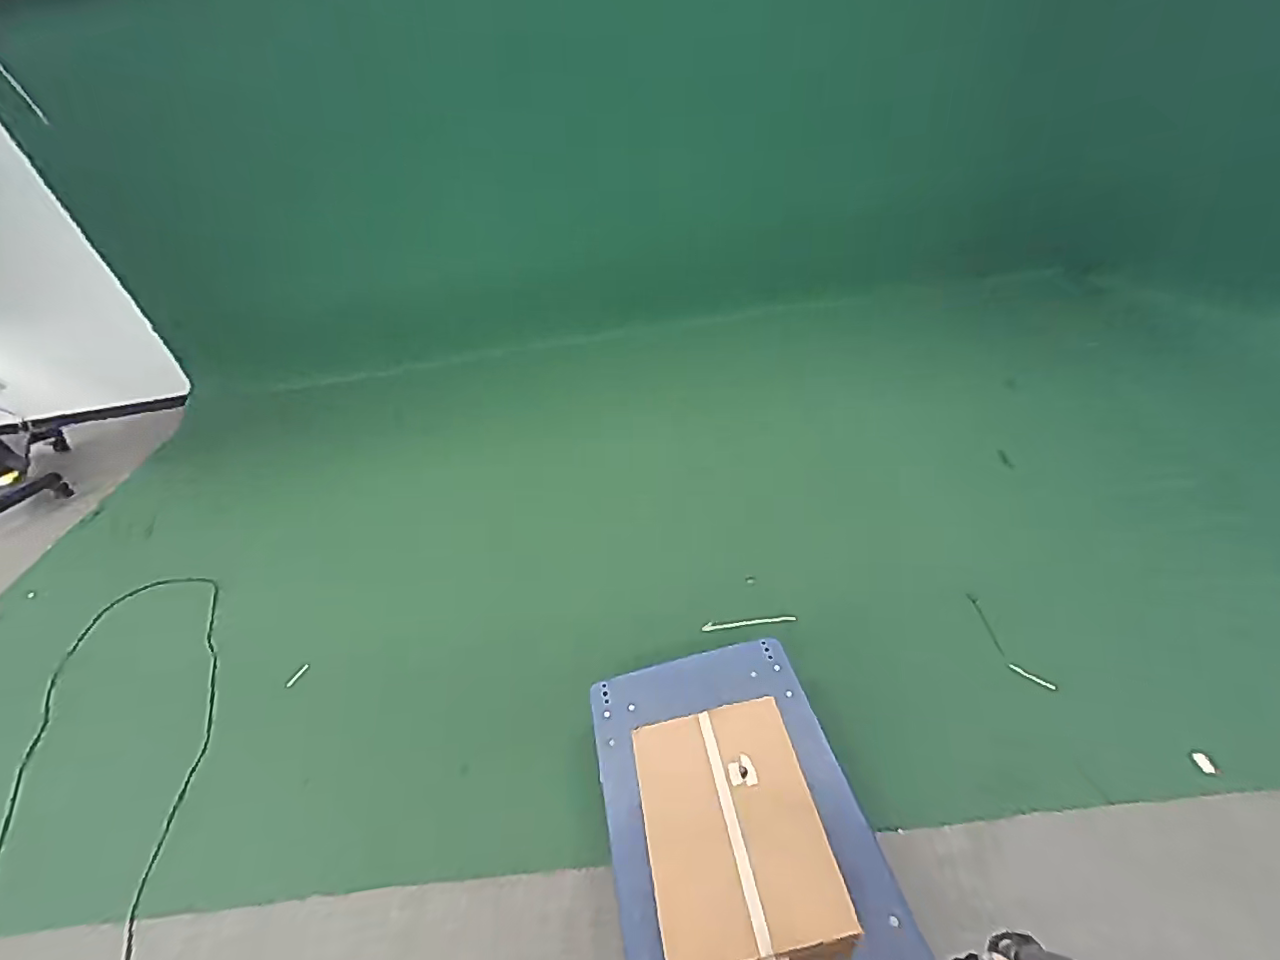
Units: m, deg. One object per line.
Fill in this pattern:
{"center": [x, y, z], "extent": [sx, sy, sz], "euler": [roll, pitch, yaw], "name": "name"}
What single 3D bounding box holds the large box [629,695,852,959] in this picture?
{"center": [0.182, 0.727, 1.092], "extent": [0.320, 0.320, 0.408], "euler": [-12, 39, -2], "name": "large box"}
